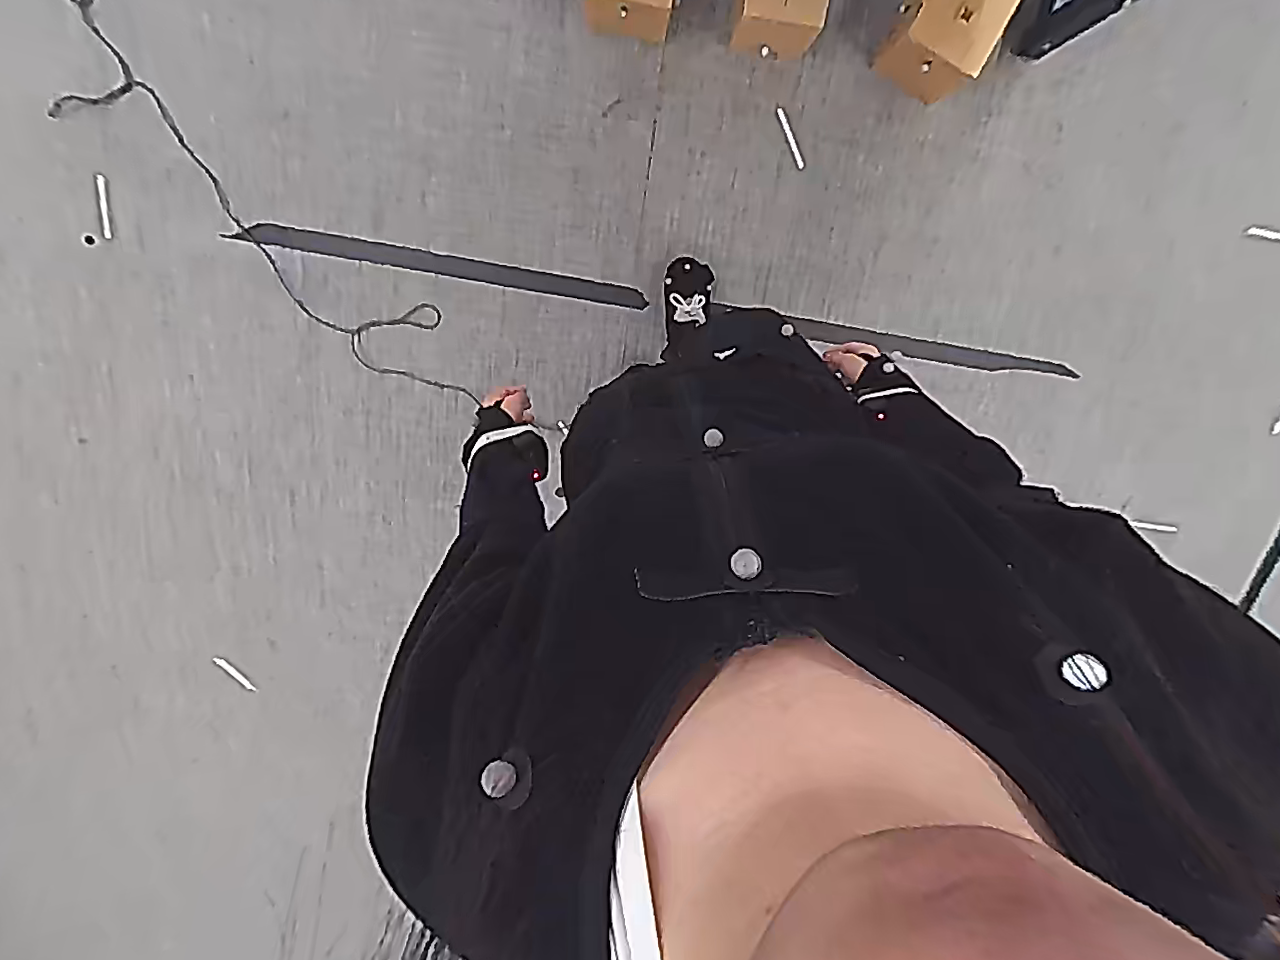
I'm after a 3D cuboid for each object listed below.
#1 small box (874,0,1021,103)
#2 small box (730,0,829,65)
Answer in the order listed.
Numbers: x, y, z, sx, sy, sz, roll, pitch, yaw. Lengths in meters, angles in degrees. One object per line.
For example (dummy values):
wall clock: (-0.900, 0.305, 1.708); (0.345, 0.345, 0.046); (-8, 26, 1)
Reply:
small box: (0.641, -0.944, 1.150); (0.179, 0.176, 0.168); (25, 106, -8)
small box: (0.291, -1.006, 1.118); (0.168, 0.176, 0.179); (7, 109, -4)
